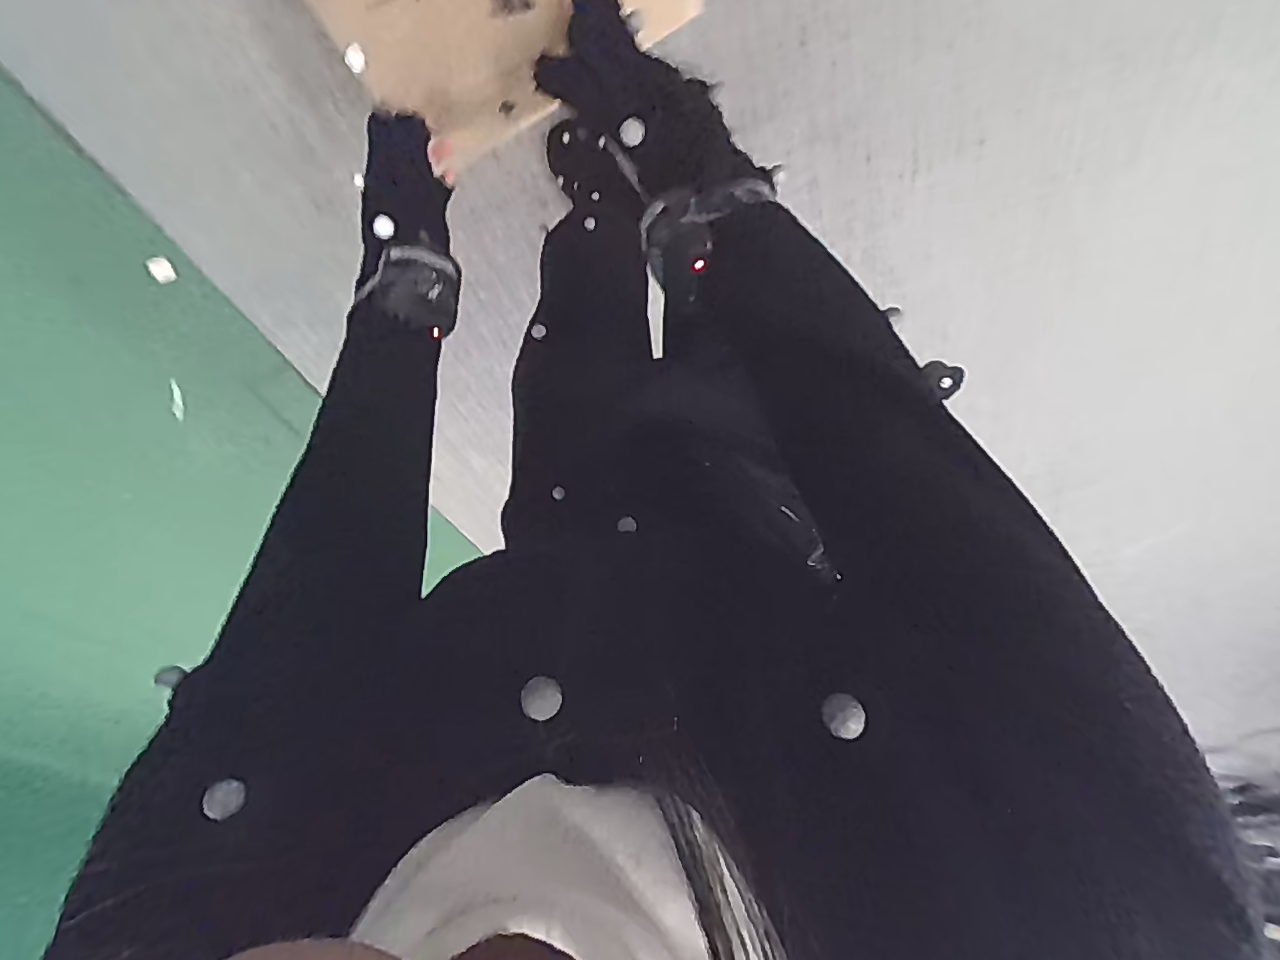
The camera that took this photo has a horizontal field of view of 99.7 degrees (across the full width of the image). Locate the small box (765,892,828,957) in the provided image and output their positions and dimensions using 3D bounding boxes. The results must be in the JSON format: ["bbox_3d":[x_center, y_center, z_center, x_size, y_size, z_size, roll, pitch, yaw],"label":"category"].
[{"bbox_3d":[0.565,1.605,1.959,0.168,0.176,0.179,-18,133,15],"label":"small box"}]

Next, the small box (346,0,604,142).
[{"bbox_3d":[-0.144,-0.437,0.497,0.179,0.176,0.168,-16,115,18],"label":"small box"}]
